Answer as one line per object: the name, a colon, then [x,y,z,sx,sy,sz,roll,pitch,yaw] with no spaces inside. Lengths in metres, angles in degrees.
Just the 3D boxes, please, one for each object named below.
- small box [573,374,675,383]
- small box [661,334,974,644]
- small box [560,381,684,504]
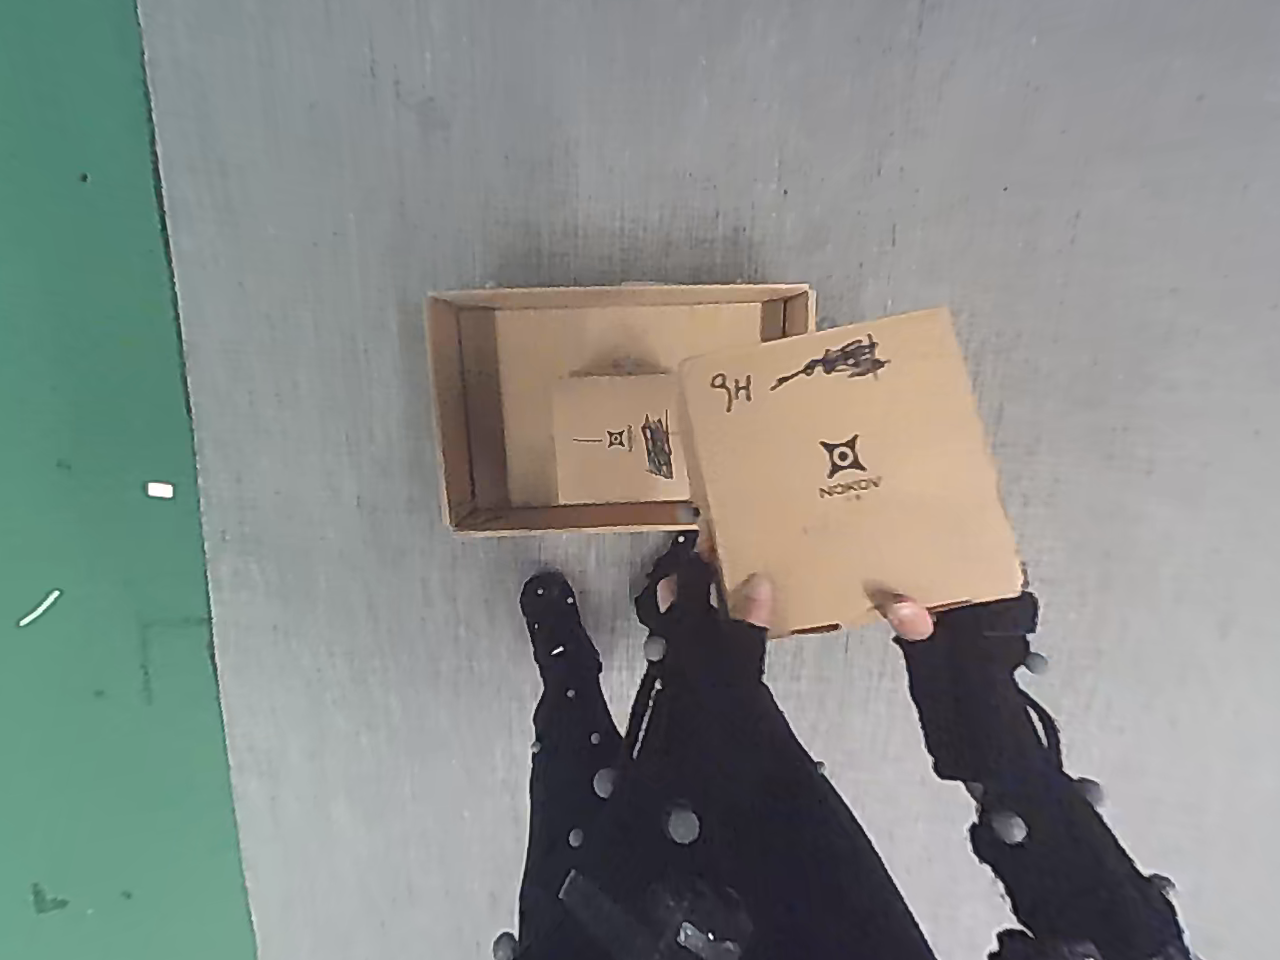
small box: [-0.023,-0.094,0.947,0.168,0.176,0.179,-3,99,-1]
small box: [0.119,0.012,0.429,0.168,0.176,0.179,-14,82,3]
small box: [-0.020,-0.062,0.802,0.179,0.176,0.168,-1,100,0]
